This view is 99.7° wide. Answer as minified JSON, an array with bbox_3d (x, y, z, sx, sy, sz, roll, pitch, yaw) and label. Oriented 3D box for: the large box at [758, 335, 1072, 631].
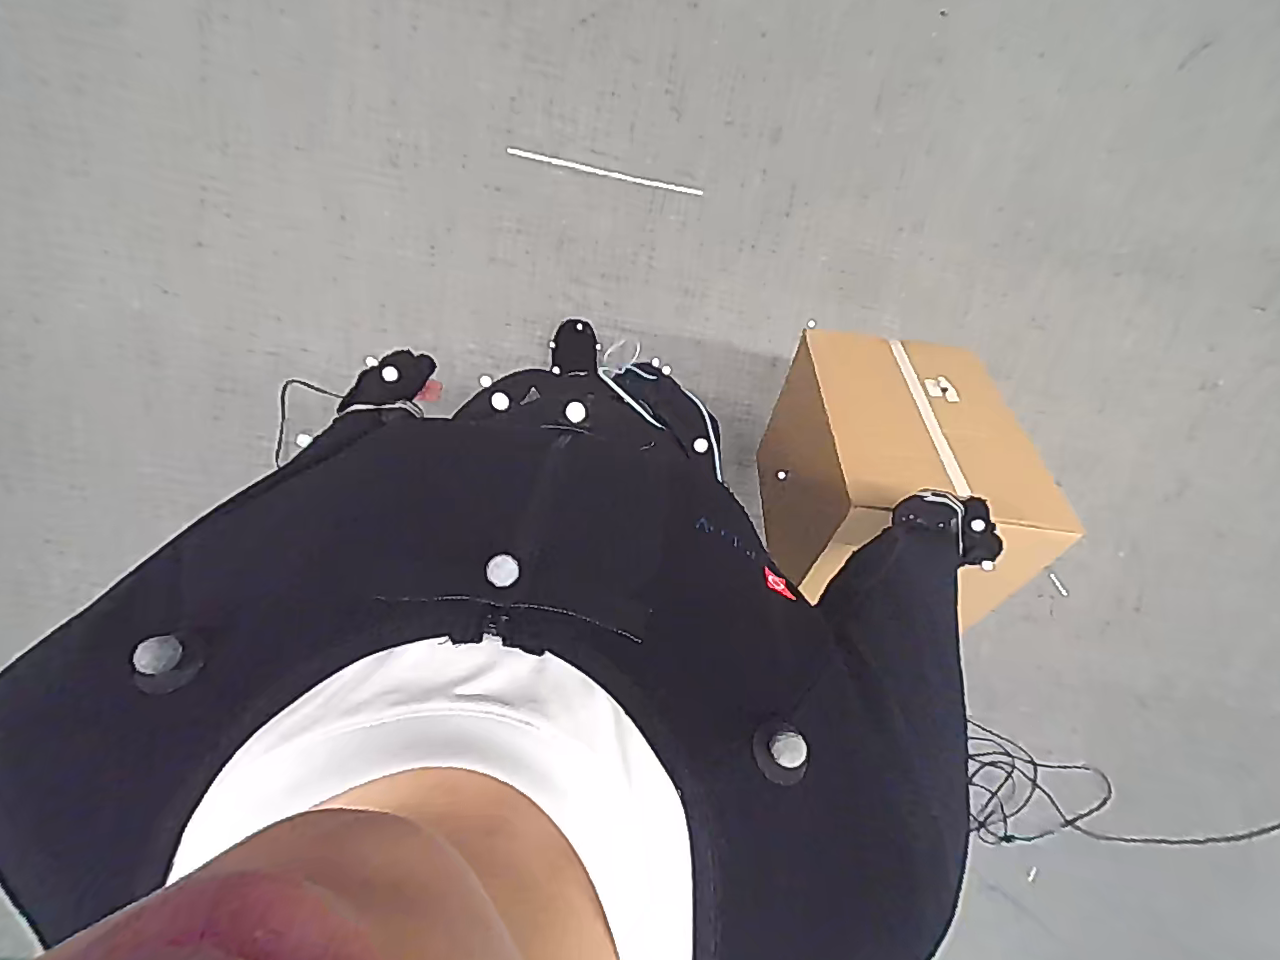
[{"bbox_3d":[0.411,0.006,0.943,0.320,0.408,0.320,8,137,-4],"label":"large box"}]
